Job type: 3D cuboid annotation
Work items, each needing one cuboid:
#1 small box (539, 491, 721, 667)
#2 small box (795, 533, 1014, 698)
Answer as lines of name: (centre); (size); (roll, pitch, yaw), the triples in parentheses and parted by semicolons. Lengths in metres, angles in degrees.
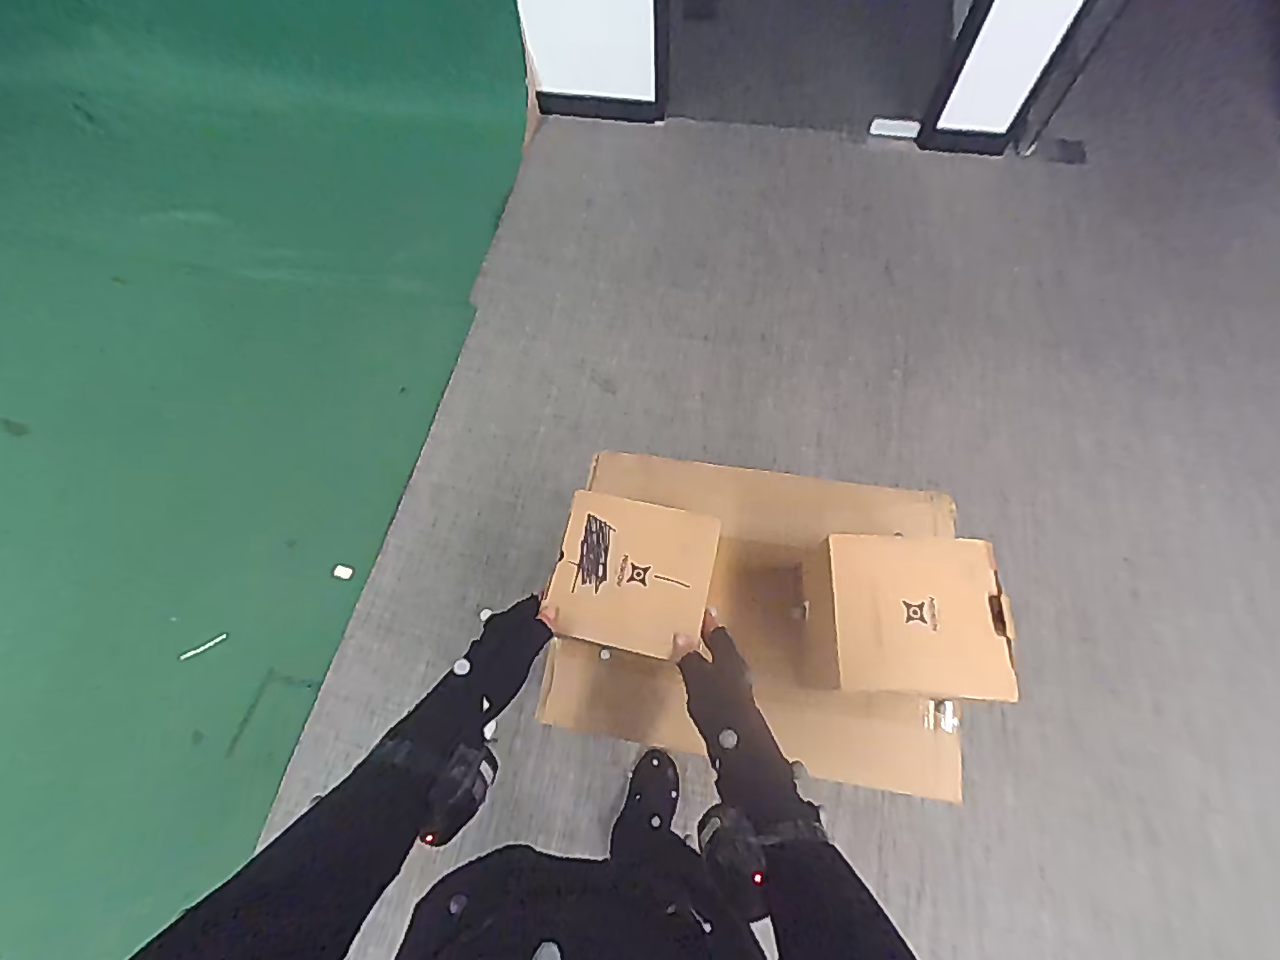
small box: (-0.003, 0.131, 0.675); (0.179, 0.176, 0.168); (11, 69, 8)
small box: (0.293, 0.166, 0.642); (0.179, 0.176, 0.168); (0, 68, 5)
